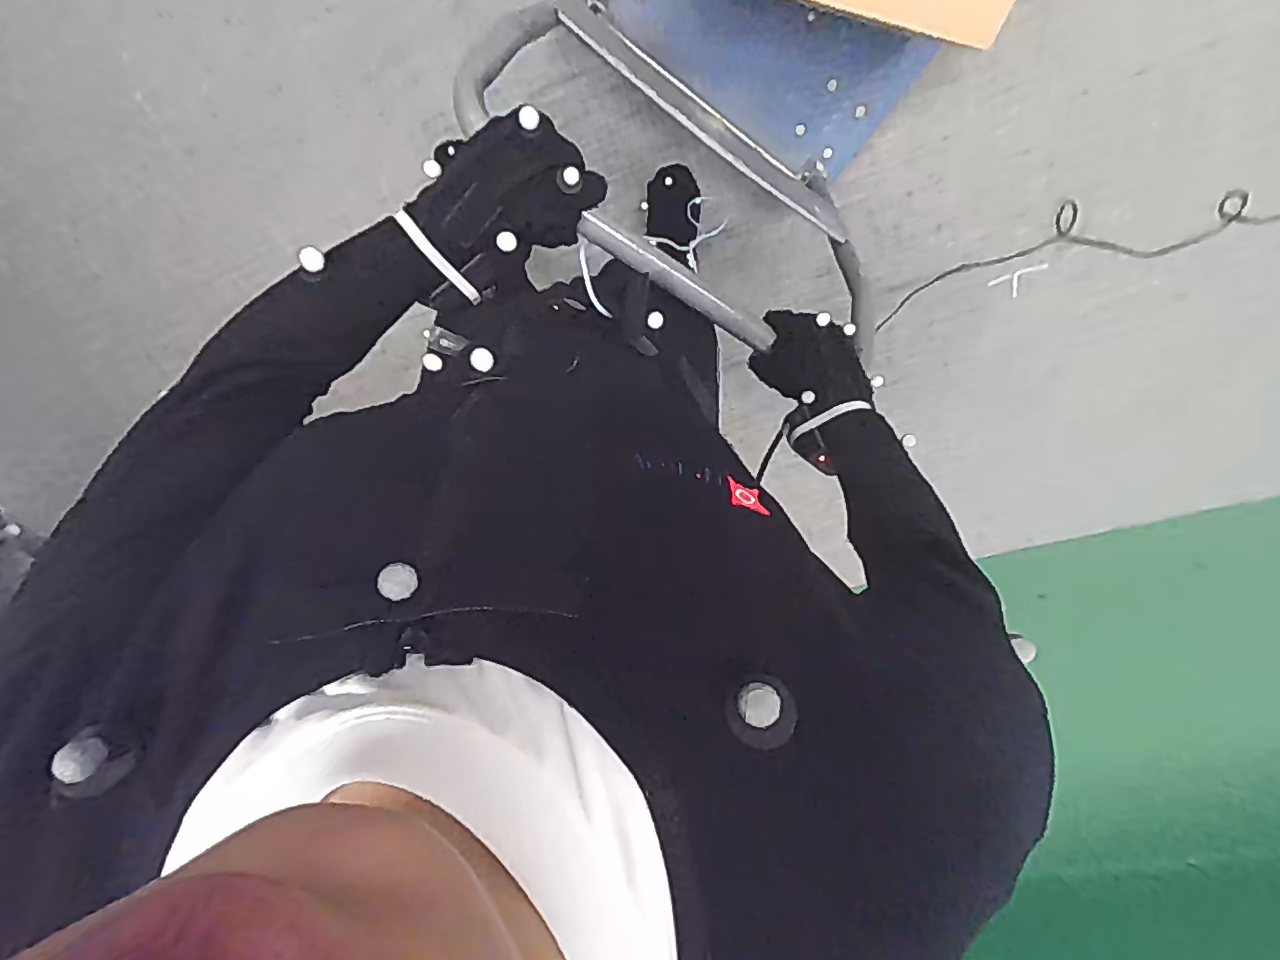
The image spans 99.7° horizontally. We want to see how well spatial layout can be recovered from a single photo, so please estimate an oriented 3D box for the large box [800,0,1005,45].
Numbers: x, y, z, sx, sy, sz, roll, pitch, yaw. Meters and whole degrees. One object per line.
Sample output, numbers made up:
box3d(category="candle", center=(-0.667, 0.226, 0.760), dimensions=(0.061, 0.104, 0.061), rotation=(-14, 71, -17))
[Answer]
box3d(category="large box", center=(0.284, -0.795, 0.672), dimensions=(0.408, 0.320, 0.320), rotation=(13, 132, -5))
